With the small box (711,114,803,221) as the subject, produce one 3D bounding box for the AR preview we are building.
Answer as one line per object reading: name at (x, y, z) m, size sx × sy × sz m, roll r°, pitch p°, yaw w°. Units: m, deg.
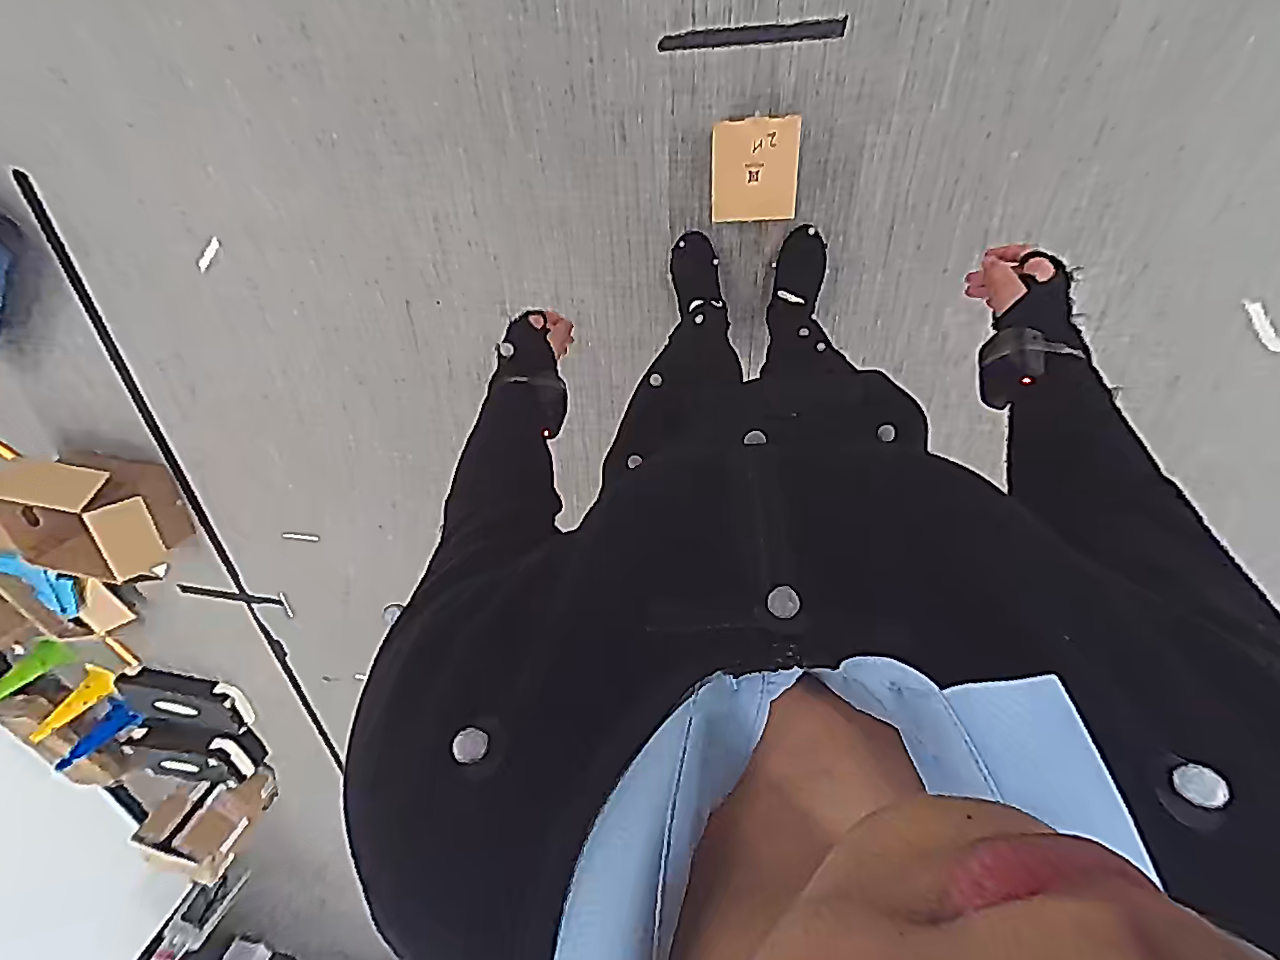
small box at (0.237, -0.641, 1.111) m, size 0.168 × 0.176 × 0.179 m, roll 3°, pitch 121°, yaw 10°
